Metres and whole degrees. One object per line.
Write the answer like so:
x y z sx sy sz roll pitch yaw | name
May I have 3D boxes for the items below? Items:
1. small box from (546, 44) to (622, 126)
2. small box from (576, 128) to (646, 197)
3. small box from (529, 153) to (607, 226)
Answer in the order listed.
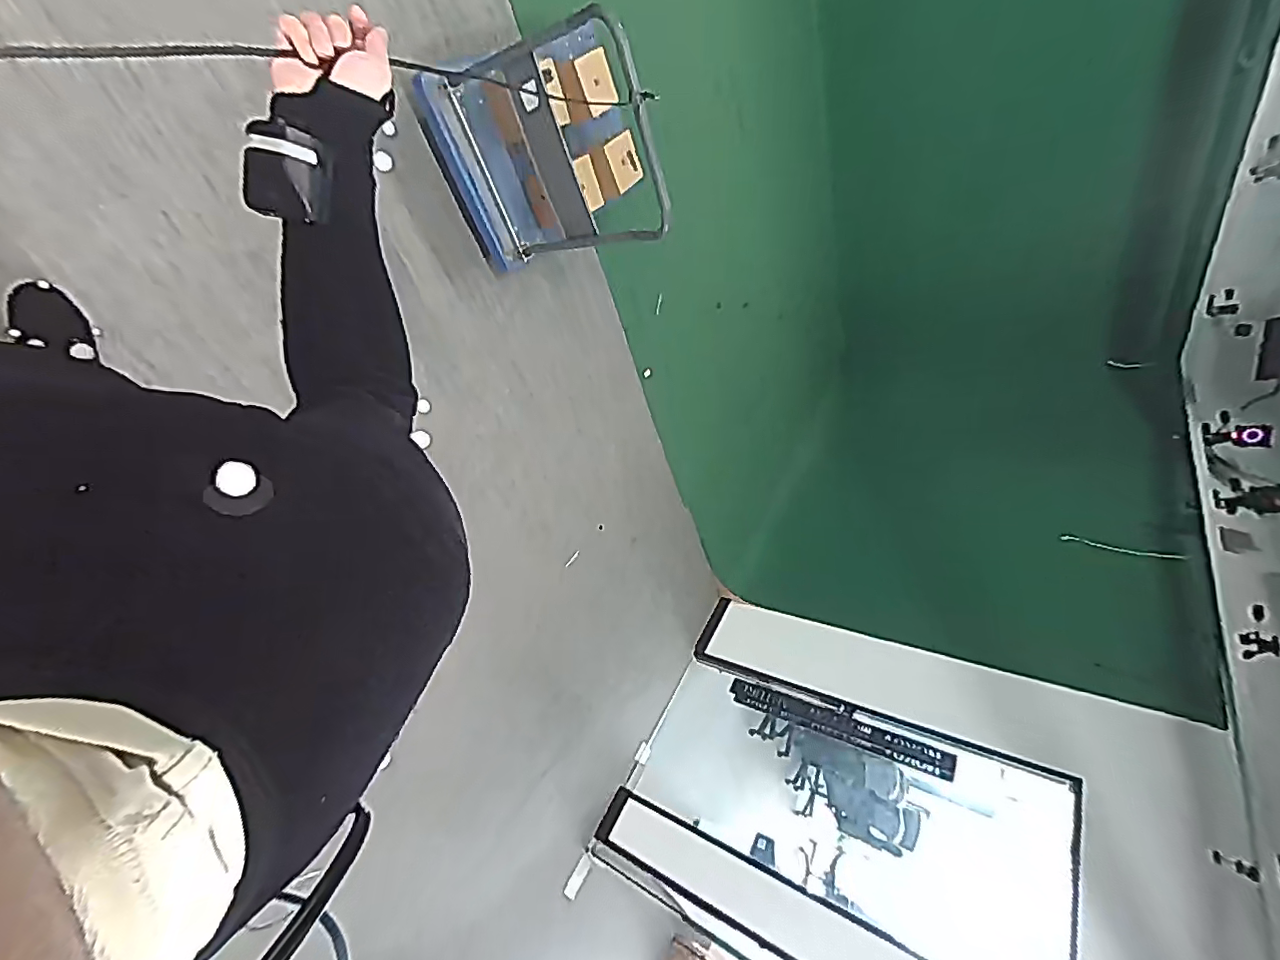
-0.198 -1.347 1.851 0.179 0.176 0.168 -55 137 -32 | small box
-0.109 -1.171 2.008 0.179 0.176 0.168 -54 135 -31 | small box
-0.248 -0.995 1.857 0.179 0.176 0.168 -50 134 -34 | small box
